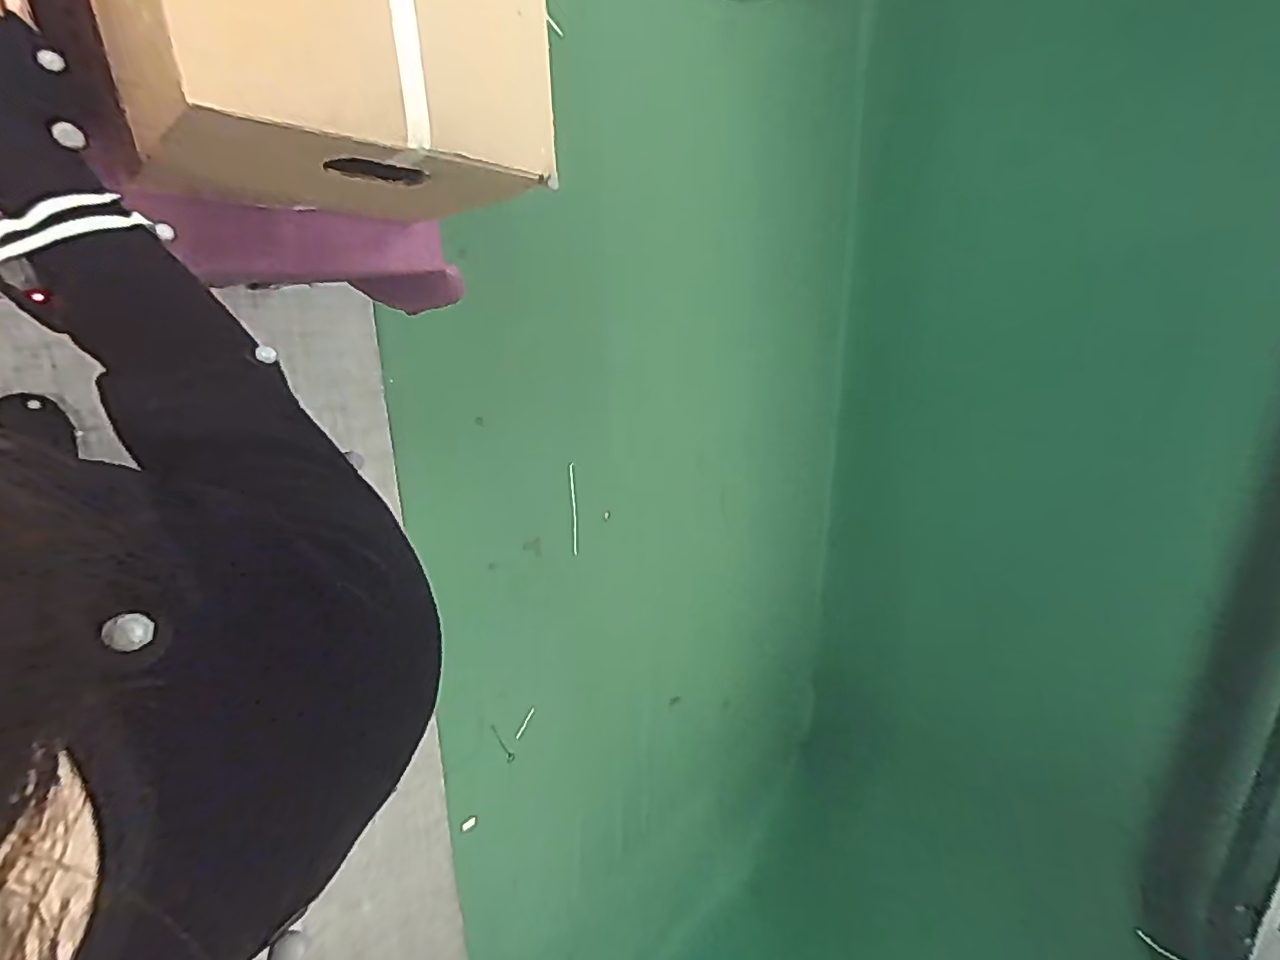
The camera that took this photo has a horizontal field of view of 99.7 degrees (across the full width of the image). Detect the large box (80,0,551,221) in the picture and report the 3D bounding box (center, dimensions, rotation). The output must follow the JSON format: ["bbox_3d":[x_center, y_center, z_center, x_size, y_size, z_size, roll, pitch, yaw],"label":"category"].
[{"bbox_3d":[-0.314,-0.498,0.512,0.320,0.320,0.408,-19,114,-46],"label":"large box"}]
